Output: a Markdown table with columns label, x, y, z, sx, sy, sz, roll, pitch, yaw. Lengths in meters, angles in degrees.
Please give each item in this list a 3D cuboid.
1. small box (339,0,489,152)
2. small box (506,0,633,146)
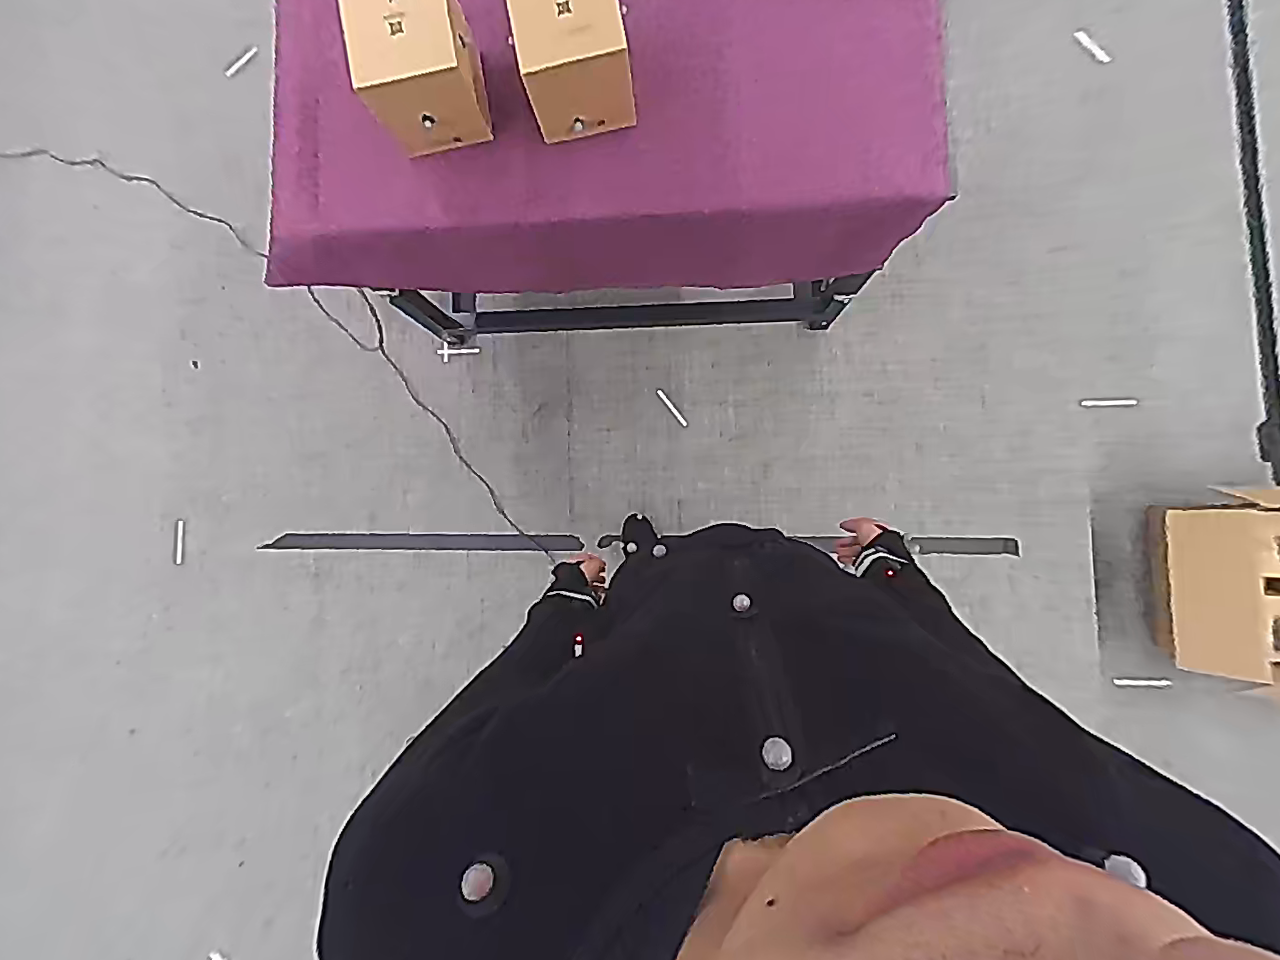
| label | x | y | z | sx | sy | sz | roll | pitch | yaw |
| --- | --- | --- | --- | --- | --- | --- | --- | --- | --- |
| small box | -0.362 | -0.677 | 0.895 | 0.168 | 0.176 | 0.179 | -10 | 86 | 2 |
| small box | -0.110 | -0.694 | 0.882 | 0.168 | 0.176 | 0.179 | -11 | 86 | 3 |
